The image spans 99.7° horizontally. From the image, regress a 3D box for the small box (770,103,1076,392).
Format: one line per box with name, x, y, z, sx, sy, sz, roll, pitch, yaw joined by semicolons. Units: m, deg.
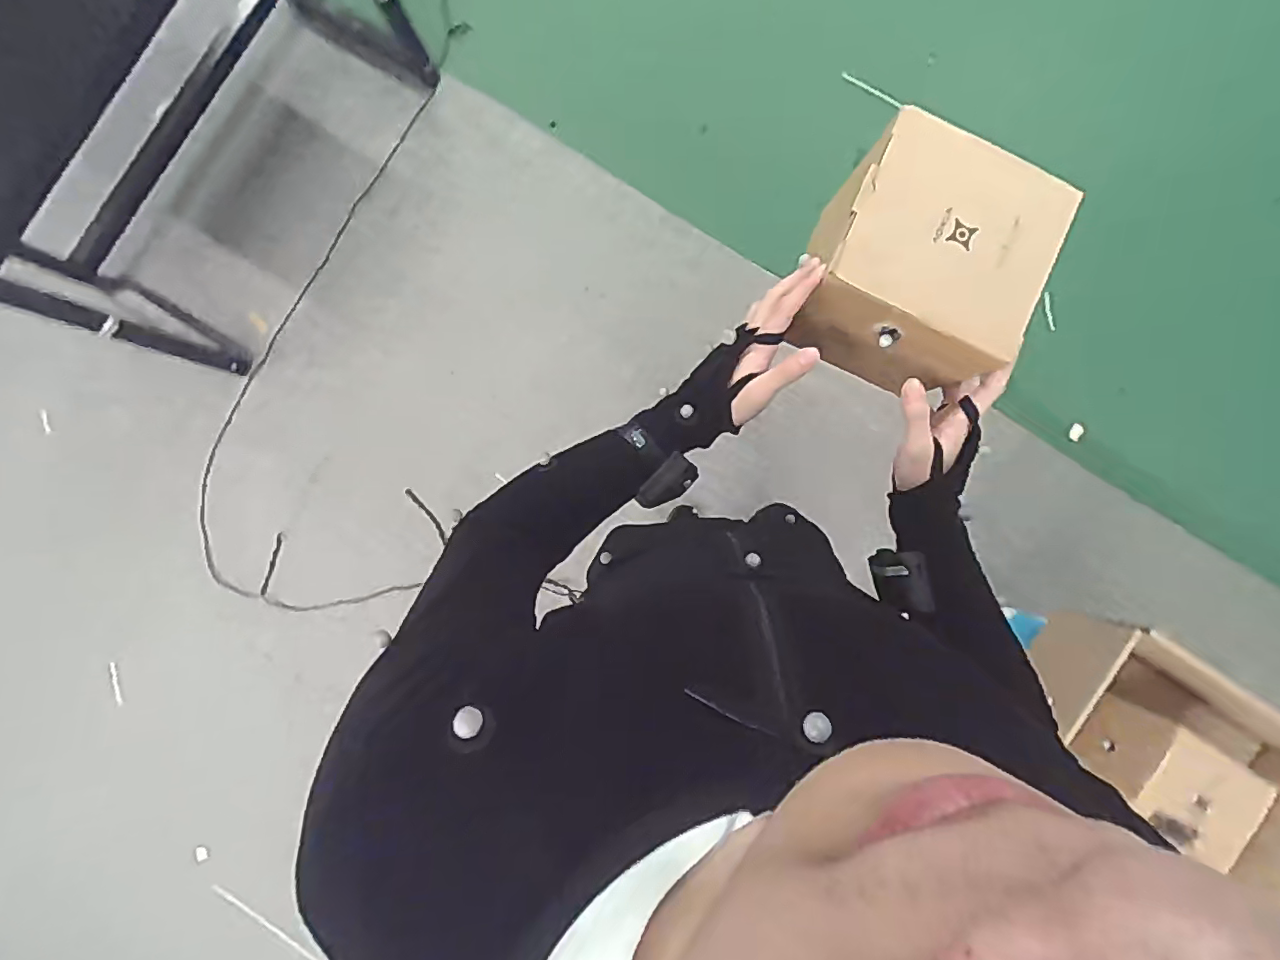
small box;0.251;-0.202;0.526;0.179;0.176;0.168;25;86;-2
